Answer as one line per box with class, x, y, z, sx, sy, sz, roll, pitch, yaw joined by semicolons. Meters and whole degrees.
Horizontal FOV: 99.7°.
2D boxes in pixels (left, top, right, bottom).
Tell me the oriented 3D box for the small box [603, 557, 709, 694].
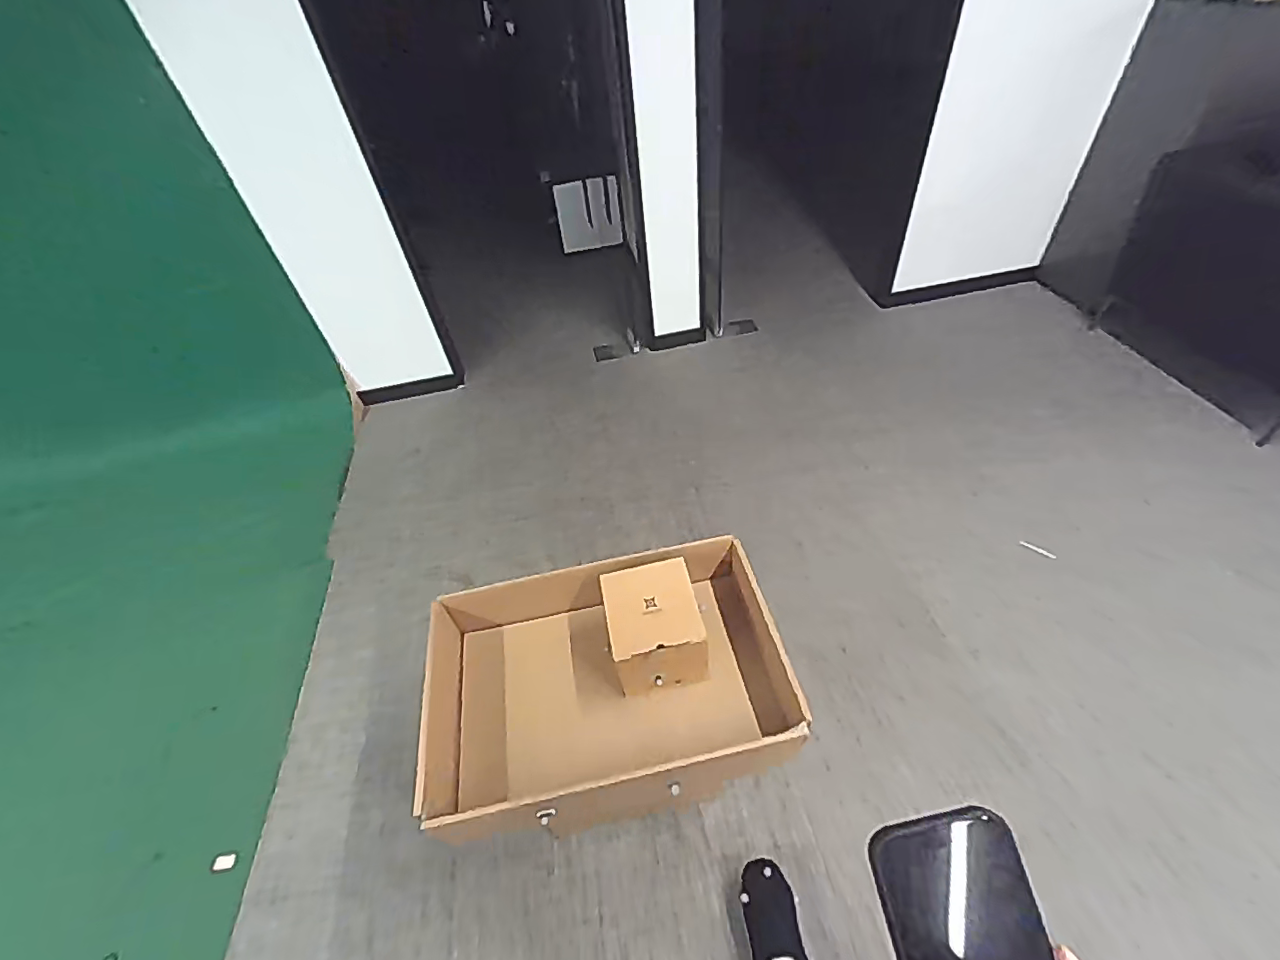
small box;0.030;0.277;1.025;0.168;0.176;0.179;-12;48;-3
